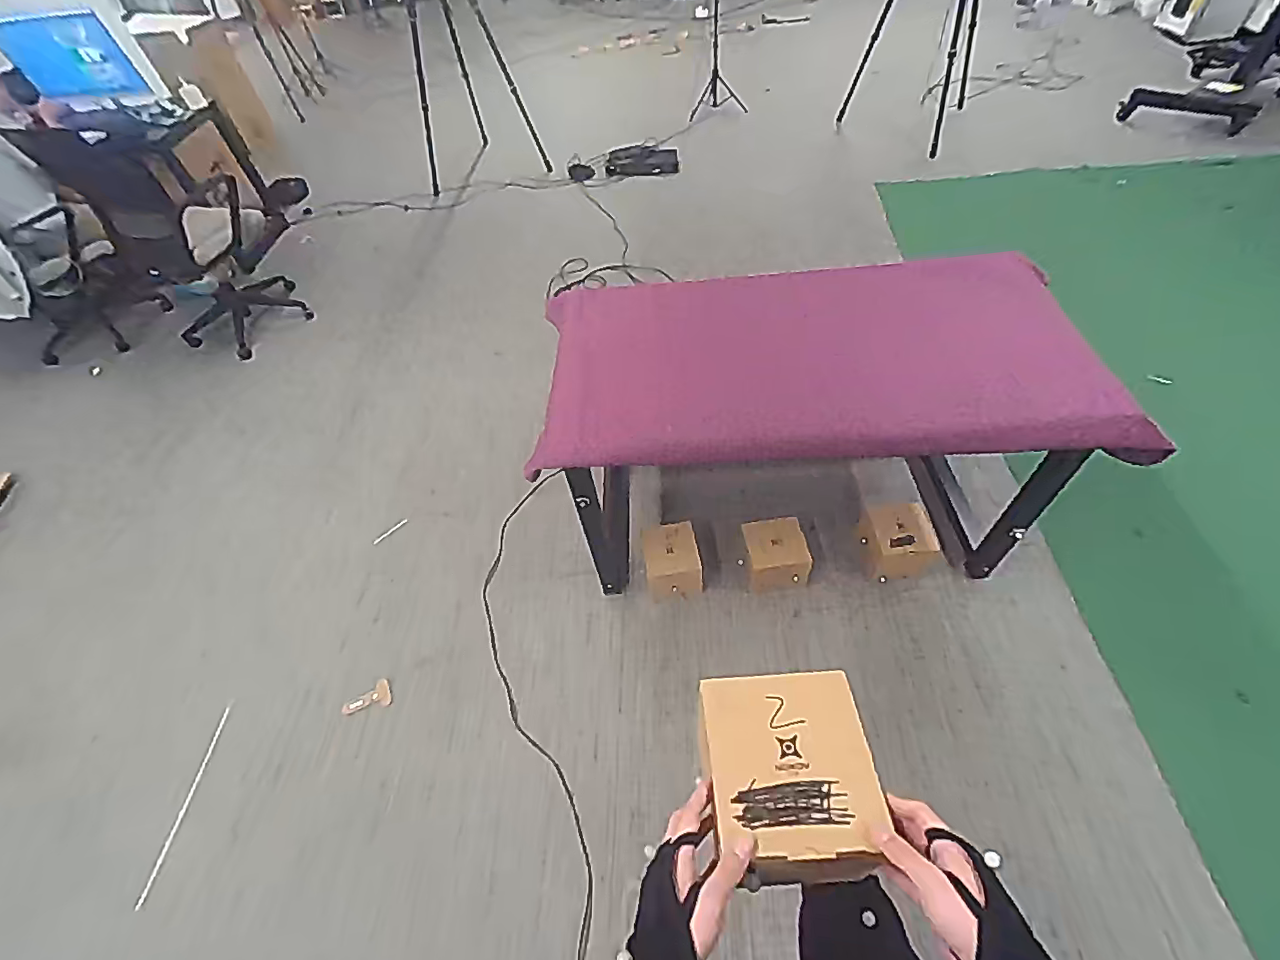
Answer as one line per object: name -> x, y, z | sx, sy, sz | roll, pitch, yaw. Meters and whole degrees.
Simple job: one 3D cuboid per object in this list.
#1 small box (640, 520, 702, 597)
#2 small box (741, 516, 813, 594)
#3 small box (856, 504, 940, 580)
small box -> 0.099, 0.254, 1.691 | 0.168, 0.176, 0.179 | -9, 51, 0
small box -> 0.416, 0.235, 1.670 | 0.179, 0.176, 0.168 | -8, 51, 1
small box -> 0.782, 0.195, 1.656 | 0.168, 0.176, 0.179 | -4, 51, 3
